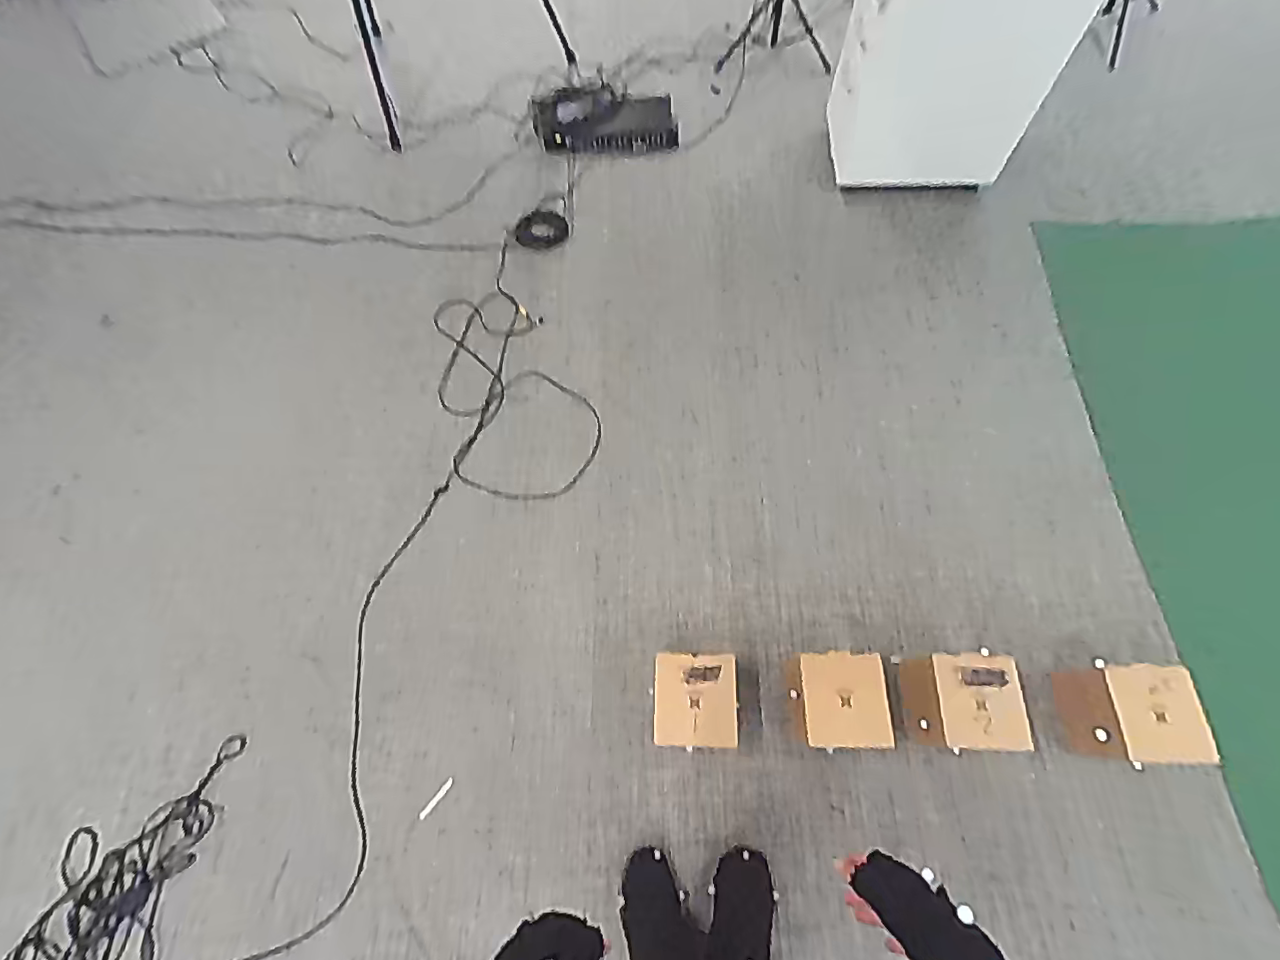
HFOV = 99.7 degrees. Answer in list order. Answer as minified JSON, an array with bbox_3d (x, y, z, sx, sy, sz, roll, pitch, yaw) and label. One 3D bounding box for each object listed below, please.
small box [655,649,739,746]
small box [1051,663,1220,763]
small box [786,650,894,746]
[{"bbox_3d":[0.118,0.462,1.151,0.168,0.176,0.179,1,68,3],"label":"small box"},{"bbox_3d":[1.001,0.474,1.111,0.168,0.176,0.179,0,67,2],"label":"small box"},{"bbox_3d":[0.412,0.460,1.141,0.168,0.176,0.179,-1,65,2],"label":"small box"}]
